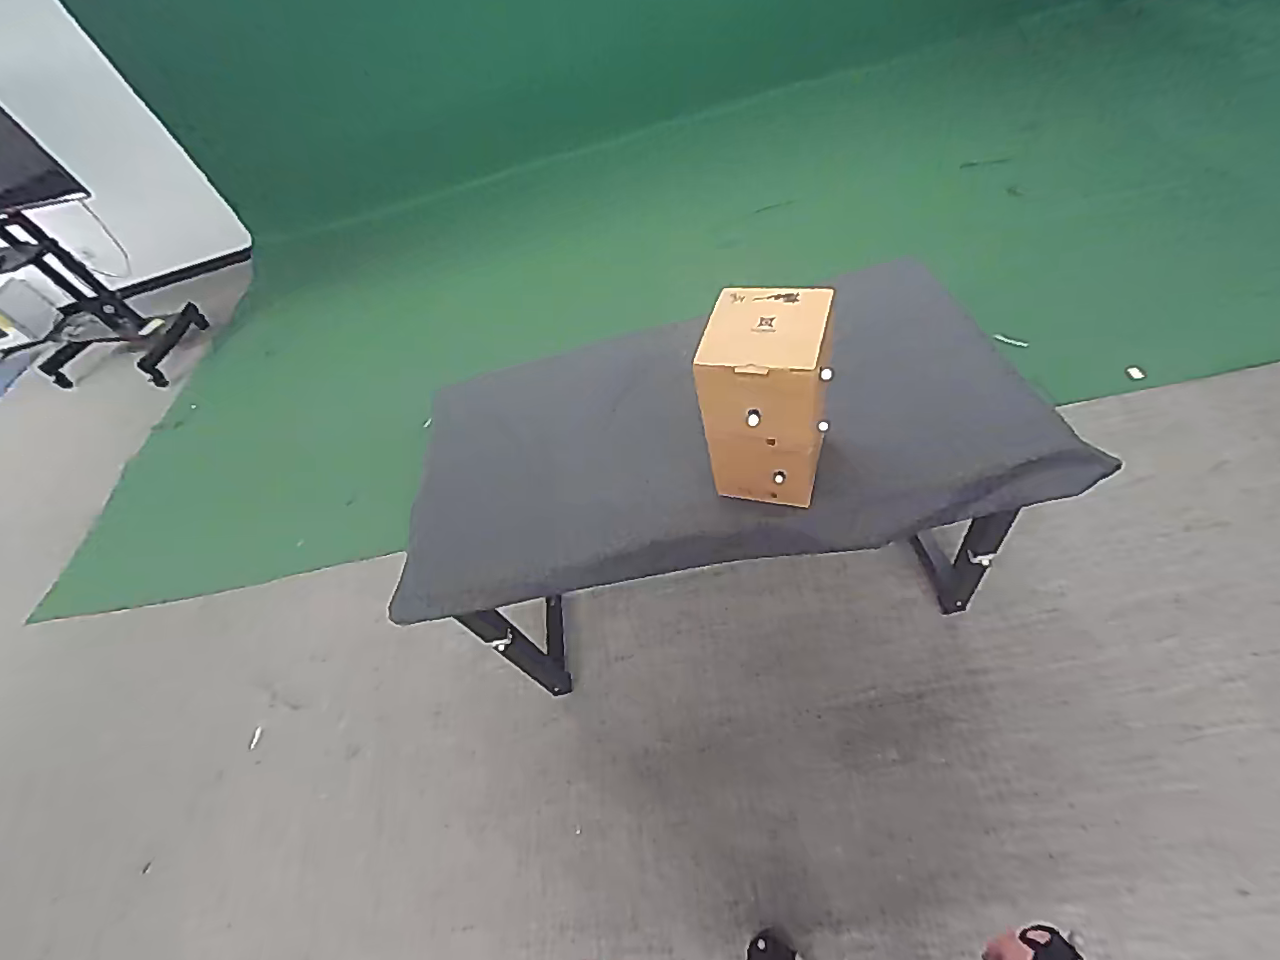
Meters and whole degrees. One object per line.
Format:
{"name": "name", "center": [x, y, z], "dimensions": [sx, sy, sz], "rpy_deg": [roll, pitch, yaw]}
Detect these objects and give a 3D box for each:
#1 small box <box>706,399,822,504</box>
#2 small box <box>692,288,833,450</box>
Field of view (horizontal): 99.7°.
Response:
{"name": "small box", "center": [0.225, -0.079, 0.954], "dimensions": [0.168, 0.176, 0.179], "rpy_deg": [9, 56, 21]}
{"name": "small box", "center": [0.191, -0.166, 0.819], "dimensions": [0.168, 0.176, 0.179], "rpy_deg": [9, 58, 21]}
